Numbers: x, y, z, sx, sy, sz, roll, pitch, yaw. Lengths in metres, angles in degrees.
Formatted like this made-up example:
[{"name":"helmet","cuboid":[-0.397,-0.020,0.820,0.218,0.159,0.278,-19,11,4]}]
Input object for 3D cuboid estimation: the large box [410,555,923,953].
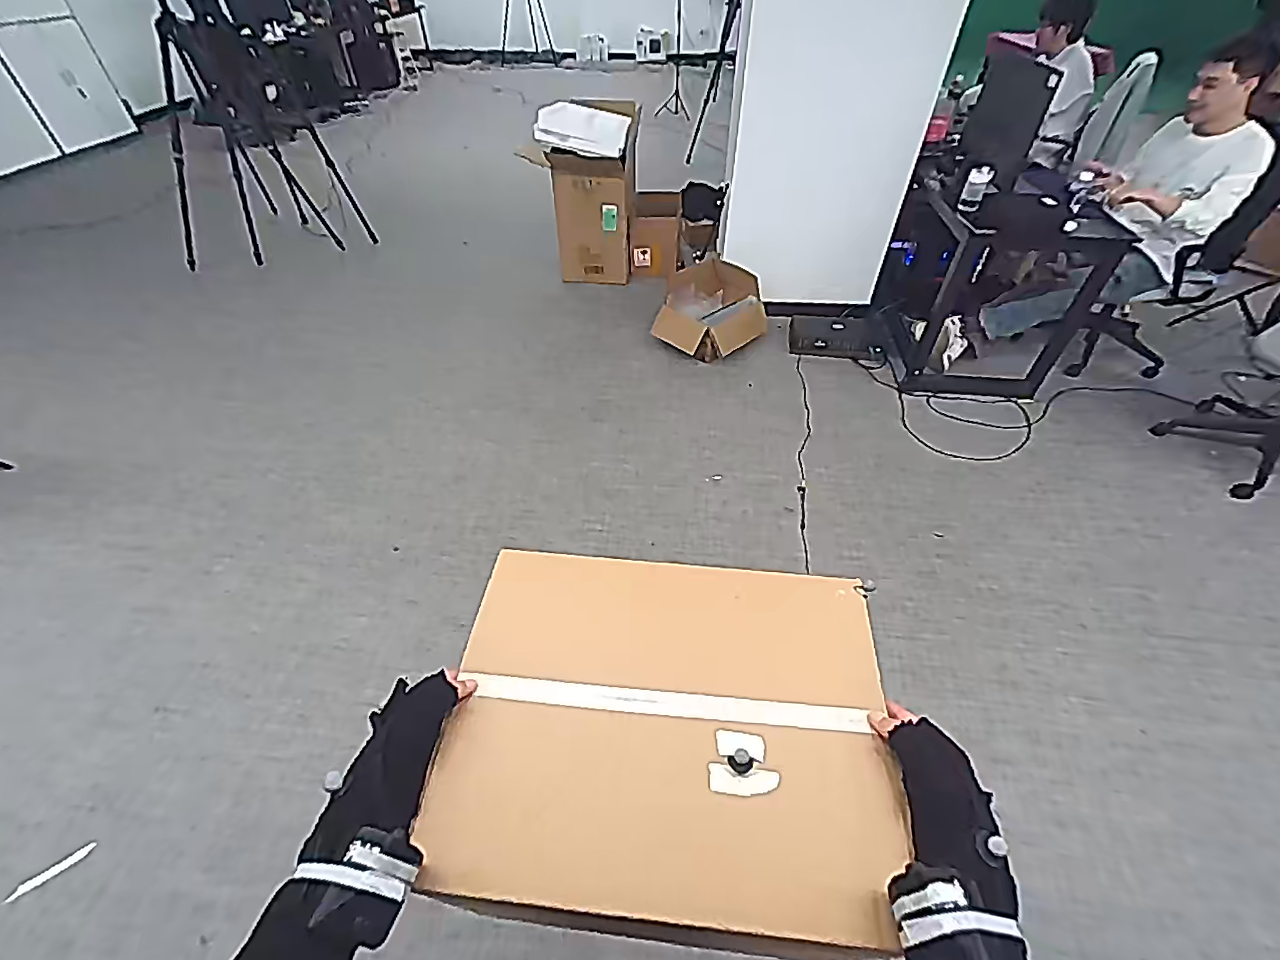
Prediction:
[{"name":"large box","cuboid":[0.026,0.312,0.619,0.408,0.320,0.320,5,48,4]}]
